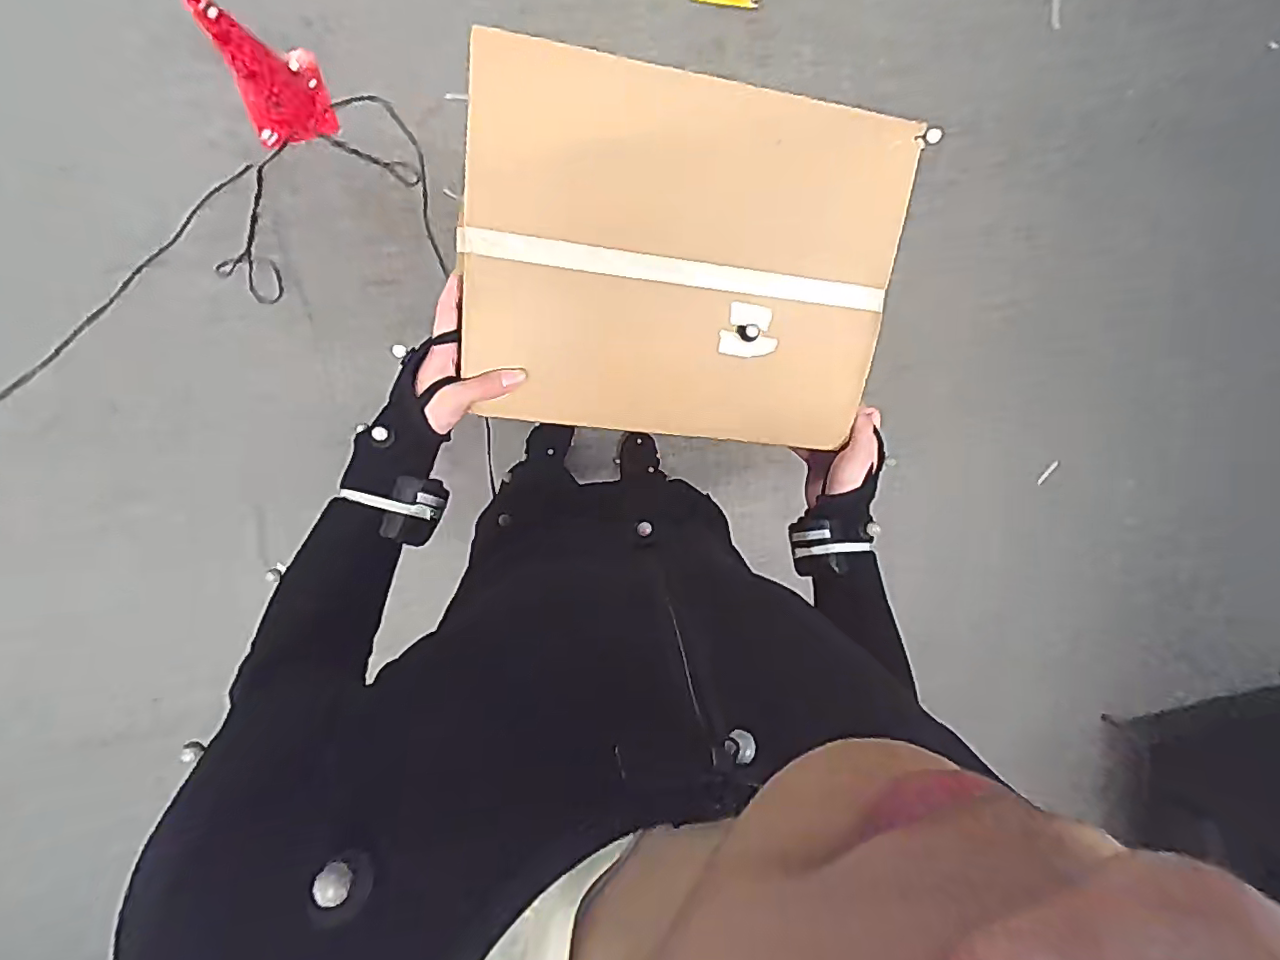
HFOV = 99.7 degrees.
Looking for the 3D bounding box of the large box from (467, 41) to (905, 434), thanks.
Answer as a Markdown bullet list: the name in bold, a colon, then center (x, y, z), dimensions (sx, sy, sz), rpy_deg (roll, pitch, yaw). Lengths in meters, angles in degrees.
- **large box**: center (0.016, -0.248, 0.654), dimensions (0.408, 0.320, 0.320), rpy_deg (3, 108, -11)
